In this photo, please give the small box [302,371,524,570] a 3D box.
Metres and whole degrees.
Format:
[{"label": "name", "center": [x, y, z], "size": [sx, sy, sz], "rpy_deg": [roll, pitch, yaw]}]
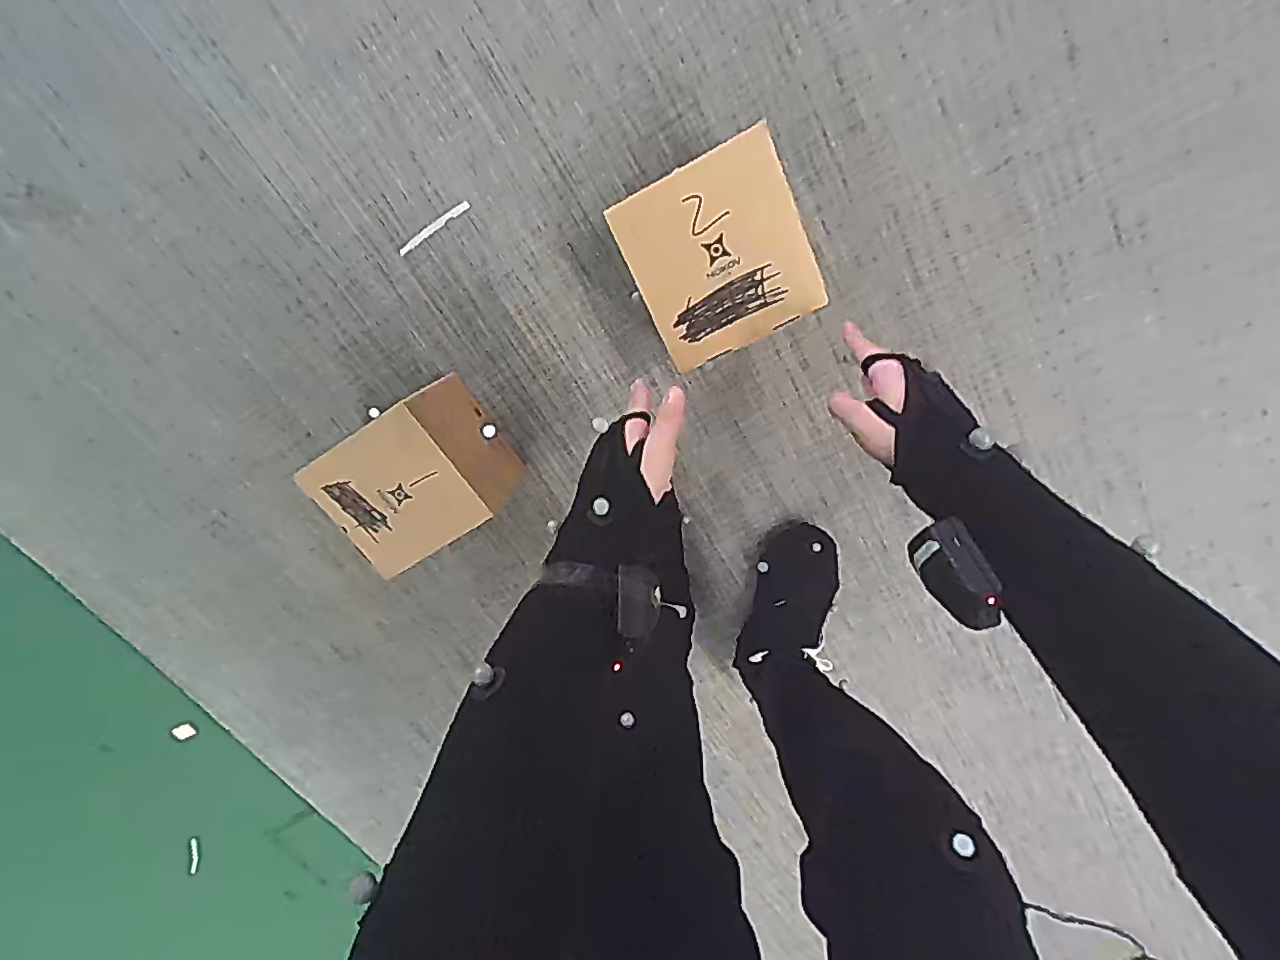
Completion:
[{"label": "small box", "center": [-0.279, -0.020, 0.710], "size": [0.179, 0.176, 0.168], "rpy_deg": [-30, 109, 12]}]
